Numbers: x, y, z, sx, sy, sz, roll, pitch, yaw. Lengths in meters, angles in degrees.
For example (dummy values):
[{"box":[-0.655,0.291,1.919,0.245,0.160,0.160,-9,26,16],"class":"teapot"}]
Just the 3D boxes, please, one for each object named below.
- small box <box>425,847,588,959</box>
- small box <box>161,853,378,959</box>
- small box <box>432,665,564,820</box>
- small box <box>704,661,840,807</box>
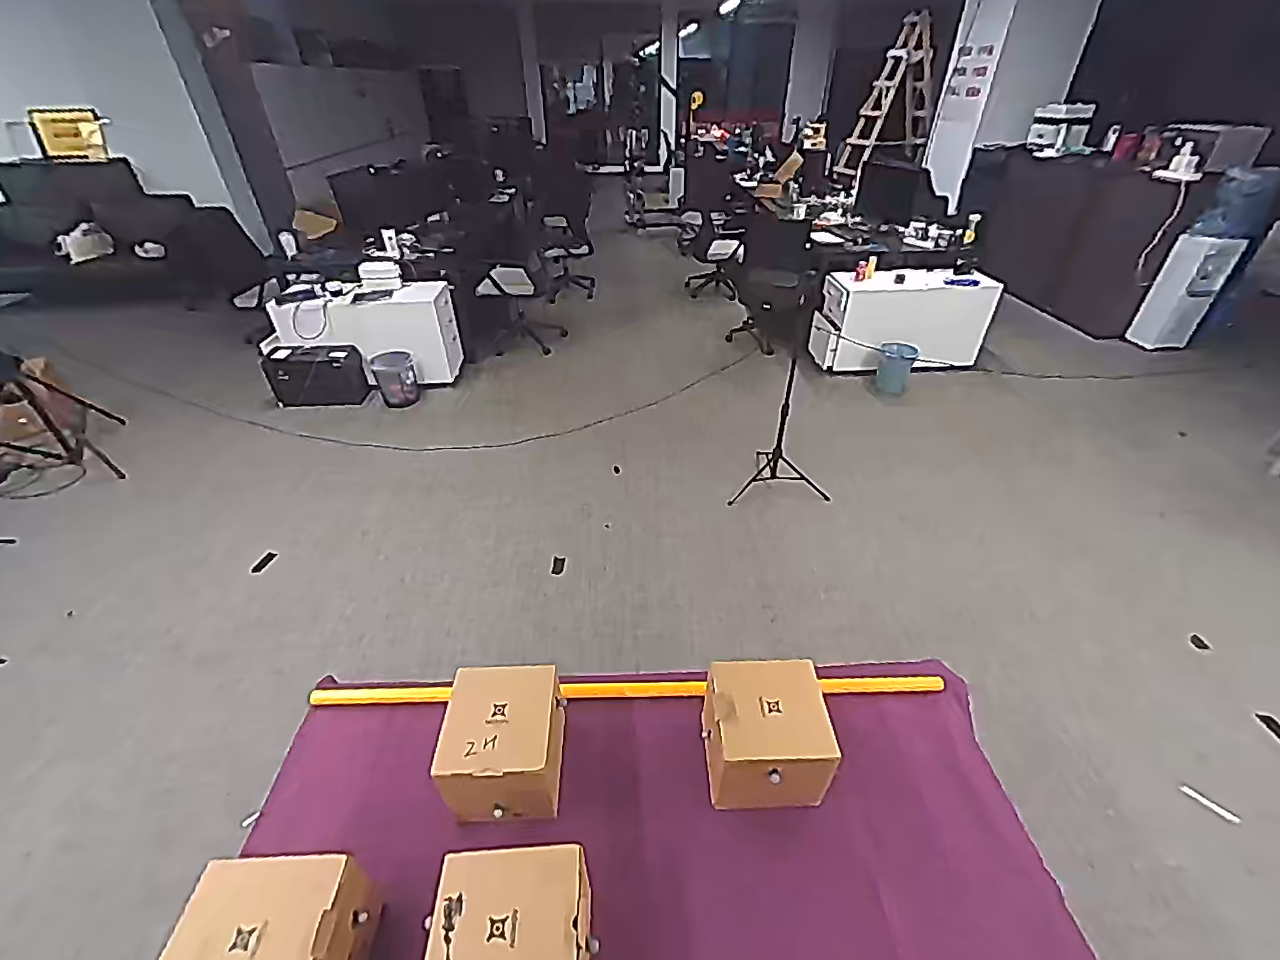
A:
[{"box":[-0.156,0.585,0.674,0.179,0.176,0.168,-2,36,-2],"class":"small box"},{"box":[-0.452,0.588,0.670,0.179,0.176,0.168,0,36,-3],"class":"small box"},{"box":[-0.218,0.428,0.888,0.168,0.176,0.179,-1,38,-1],"class":"small box"},{"box":[0.205,0.421,0.895,0.179,0.176,0.168,-2,38,0],"class":"small box"}]
